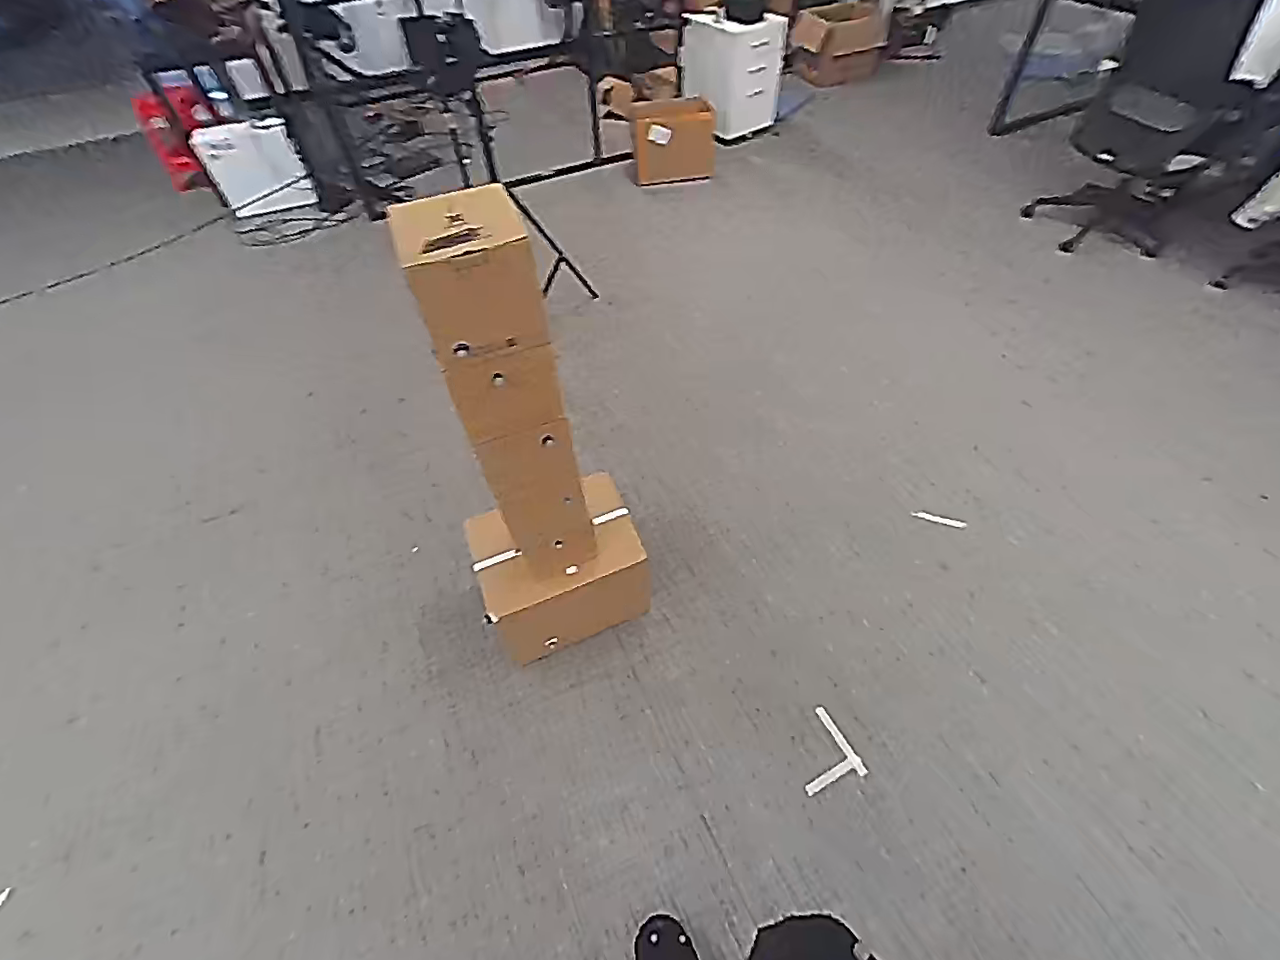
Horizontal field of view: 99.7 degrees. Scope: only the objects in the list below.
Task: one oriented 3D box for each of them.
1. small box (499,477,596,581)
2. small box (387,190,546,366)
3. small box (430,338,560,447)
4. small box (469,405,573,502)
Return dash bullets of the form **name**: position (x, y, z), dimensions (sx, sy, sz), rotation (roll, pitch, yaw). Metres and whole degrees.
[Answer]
- **small box**: position (-0.220, 0.117, 1.307), dimensions (0.179, 0.176, 0.168), rotation (-22, 55, -15)
- **small box**: position (-0.248, -0.288, 0.794), dimensions (0.168, 0.176, 0.179), rotation (-19, 54, -11)
- **small box**: position (-0.243, -0.185, 0.922), dimensions (0.179, 0.176, 0.168), rotation (-19, 54, -11)
- **small box**: position (-0.236, -0.085, 1.049), dimensions (0.179, 0.176, 0.168), rotation (-19, 54, -12)
